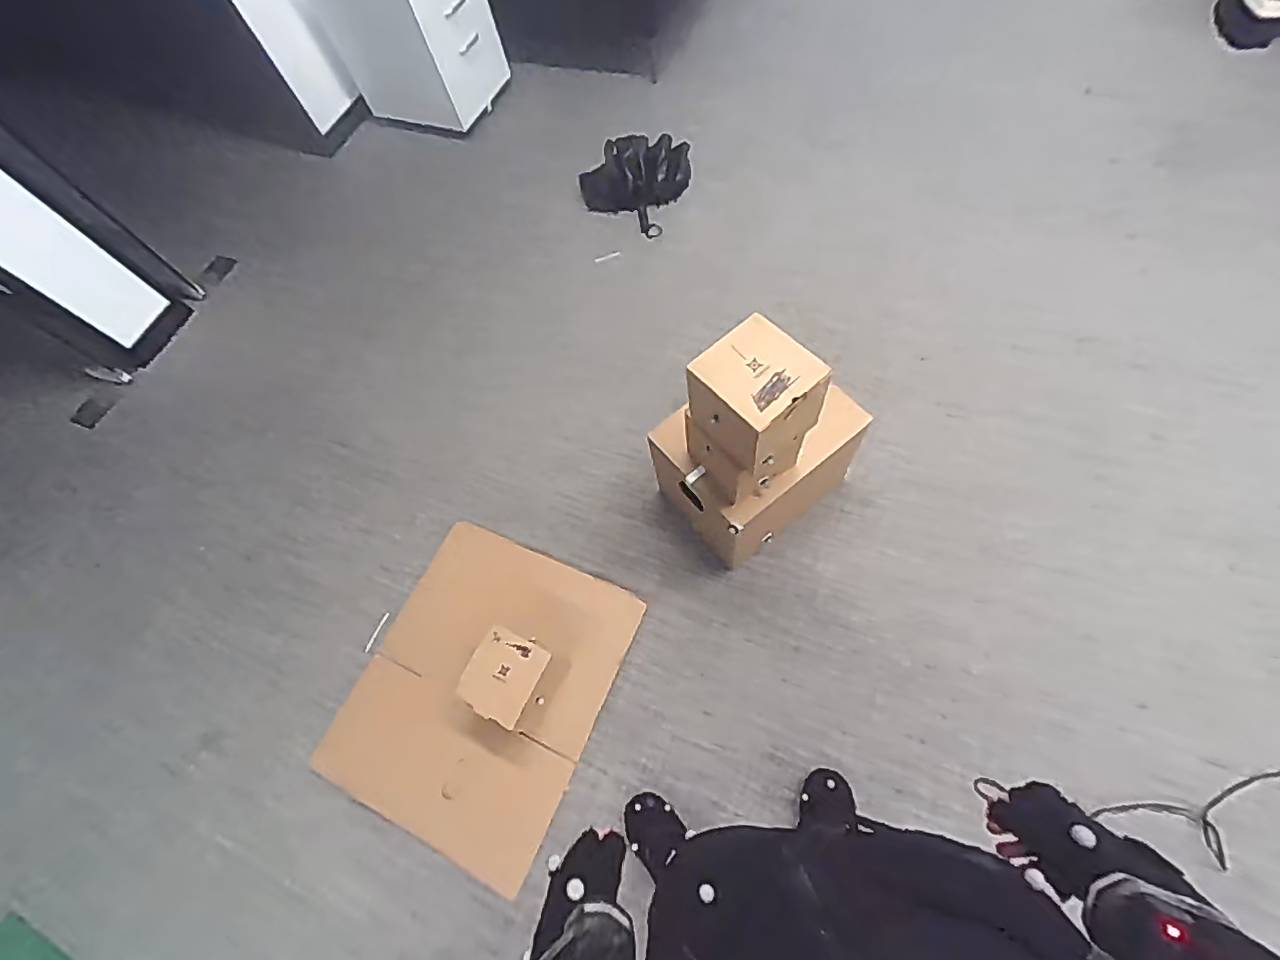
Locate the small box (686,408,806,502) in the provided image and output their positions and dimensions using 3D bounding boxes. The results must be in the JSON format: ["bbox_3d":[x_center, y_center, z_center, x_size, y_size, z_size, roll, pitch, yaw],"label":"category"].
[{"bbox_3d":[0.211,-0.085,1.116,0.168,0.176,0.179,-35,67,-7],"label":"small box"}]

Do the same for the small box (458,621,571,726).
[{"bbox_3d":[-0.283,0.455,1.266,0.168,0.176,0.179,19,71,19],"label":"small box"}]

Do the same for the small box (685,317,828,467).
[{"bbox_3d":[0.200,-0.144,0.962,0.168,0.176,0.179,-42,68,-10],"label":"small box"}]
